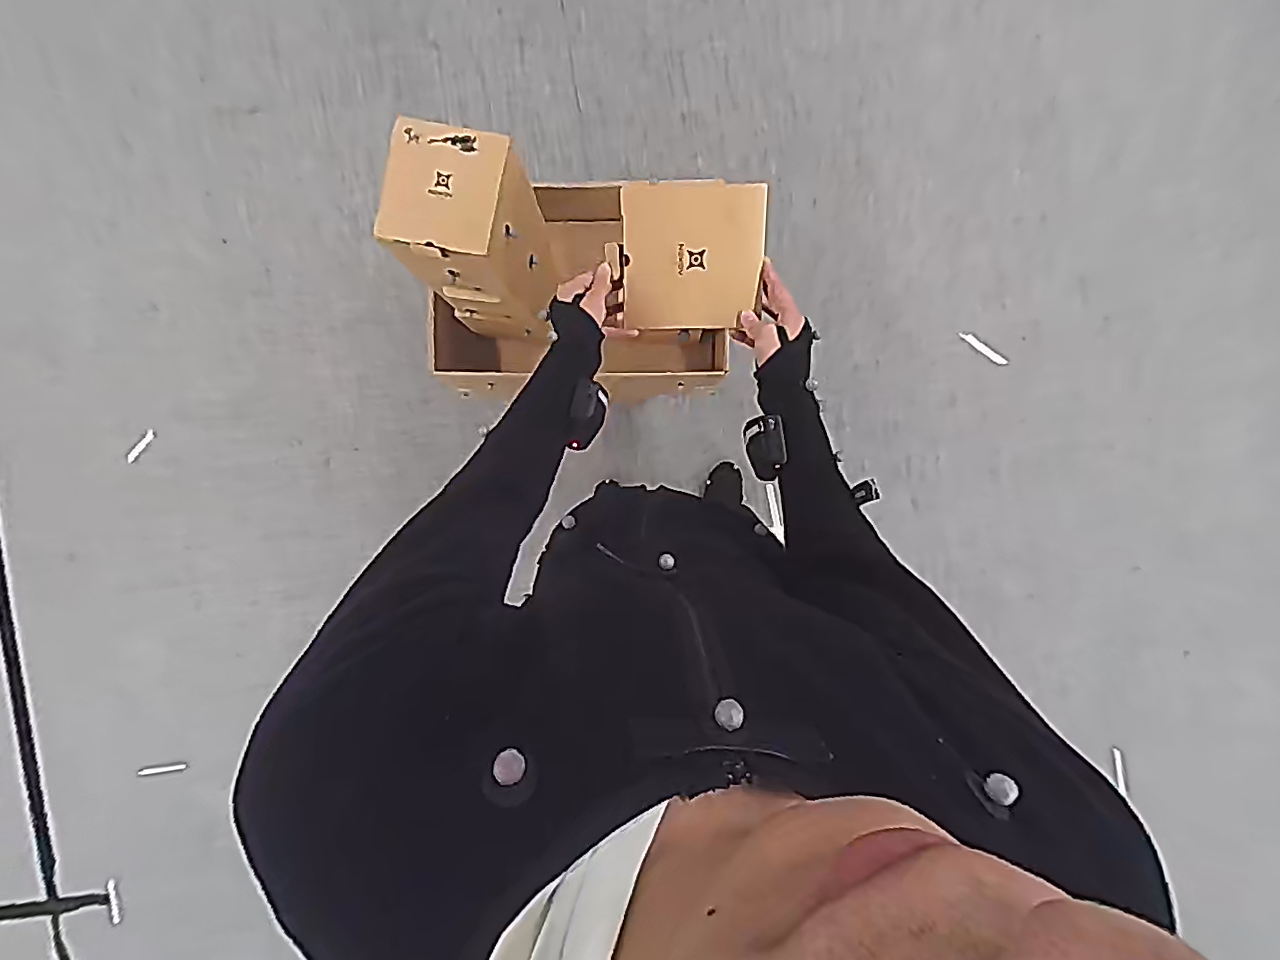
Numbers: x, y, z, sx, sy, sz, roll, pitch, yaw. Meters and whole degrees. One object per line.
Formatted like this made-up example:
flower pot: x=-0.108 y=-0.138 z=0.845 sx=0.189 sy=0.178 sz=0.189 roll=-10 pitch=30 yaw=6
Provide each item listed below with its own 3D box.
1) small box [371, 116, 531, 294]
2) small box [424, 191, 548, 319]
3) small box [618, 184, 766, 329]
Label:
small box: x=-0.276 y=-0.405 z=0.827 sx=0.168 sy=0.176 sz=0.179 roll=11 pitch=90 yaw=1
small box: x=-0.273 y=-0.409 z=0.991 sx=0.168 sy=0.176 sz=0.179 roll=8 pitch=89 yaw=2
small box: x=0.065 y=-0.293 z=0.733 sx=0.179 sy=0.176 sz=0.168 roll=0 pitch=107 yaw=4
